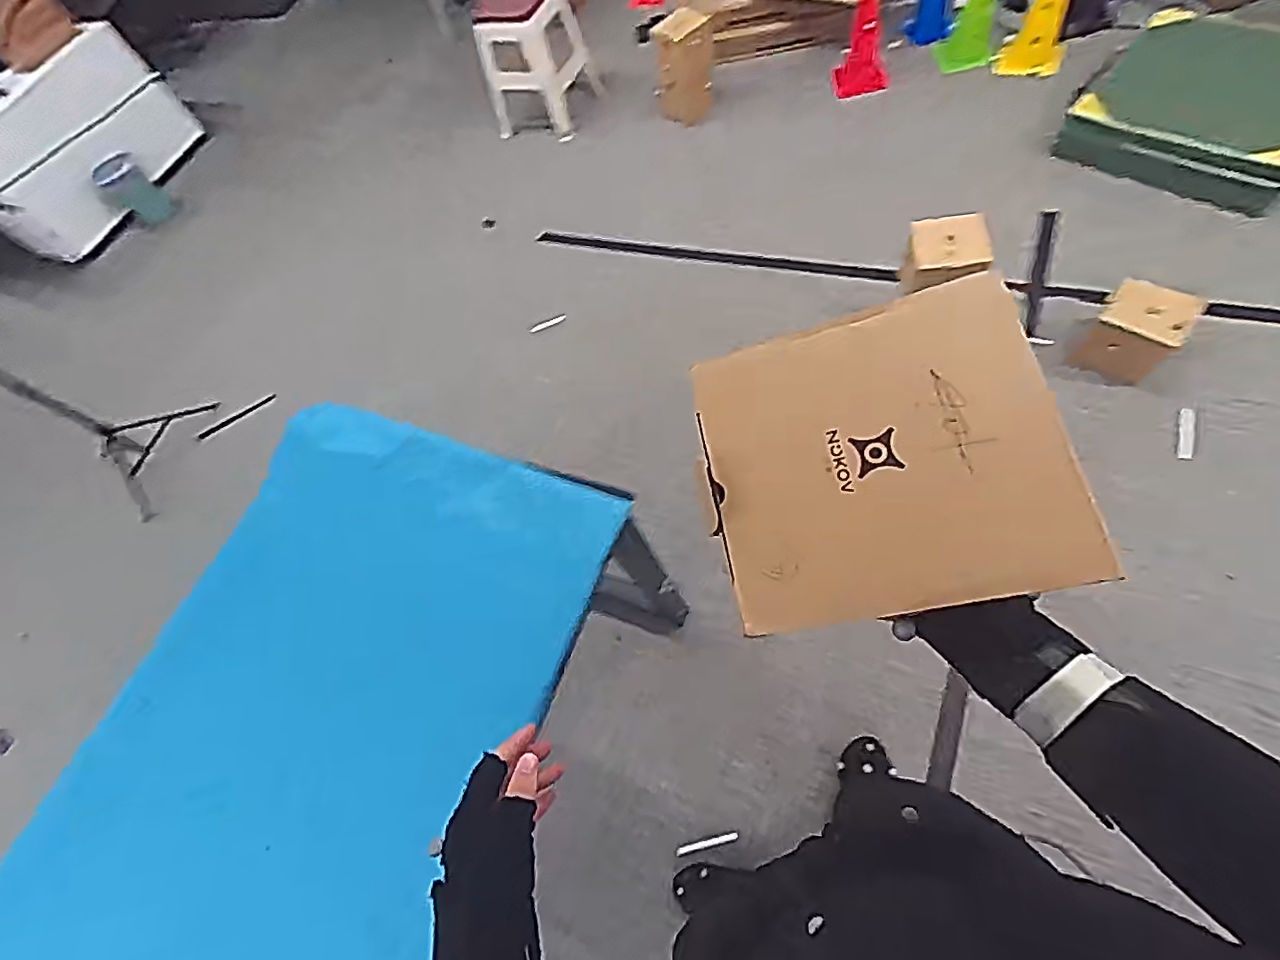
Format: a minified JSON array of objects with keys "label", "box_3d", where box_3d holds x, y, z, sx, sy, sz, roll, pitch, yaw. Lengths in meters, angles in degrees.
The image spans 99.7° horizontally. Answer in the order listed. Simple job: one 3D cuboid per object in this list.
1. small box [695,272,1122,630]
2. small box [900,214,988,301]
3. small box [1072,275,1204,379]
[{"label":"small box","box_3d":[0.154,0.004,0.359,0.179,0.176,0.168,-14,73,19]},{"label":"small box","box_3d":[0.795,-0.569,1.432,0.168,0.176,0.179,1,67,16]},{"label":"small box","box_3d":[1.291,-0.395,1.416,0.179,0.176,0.168,33,75,24]}]
